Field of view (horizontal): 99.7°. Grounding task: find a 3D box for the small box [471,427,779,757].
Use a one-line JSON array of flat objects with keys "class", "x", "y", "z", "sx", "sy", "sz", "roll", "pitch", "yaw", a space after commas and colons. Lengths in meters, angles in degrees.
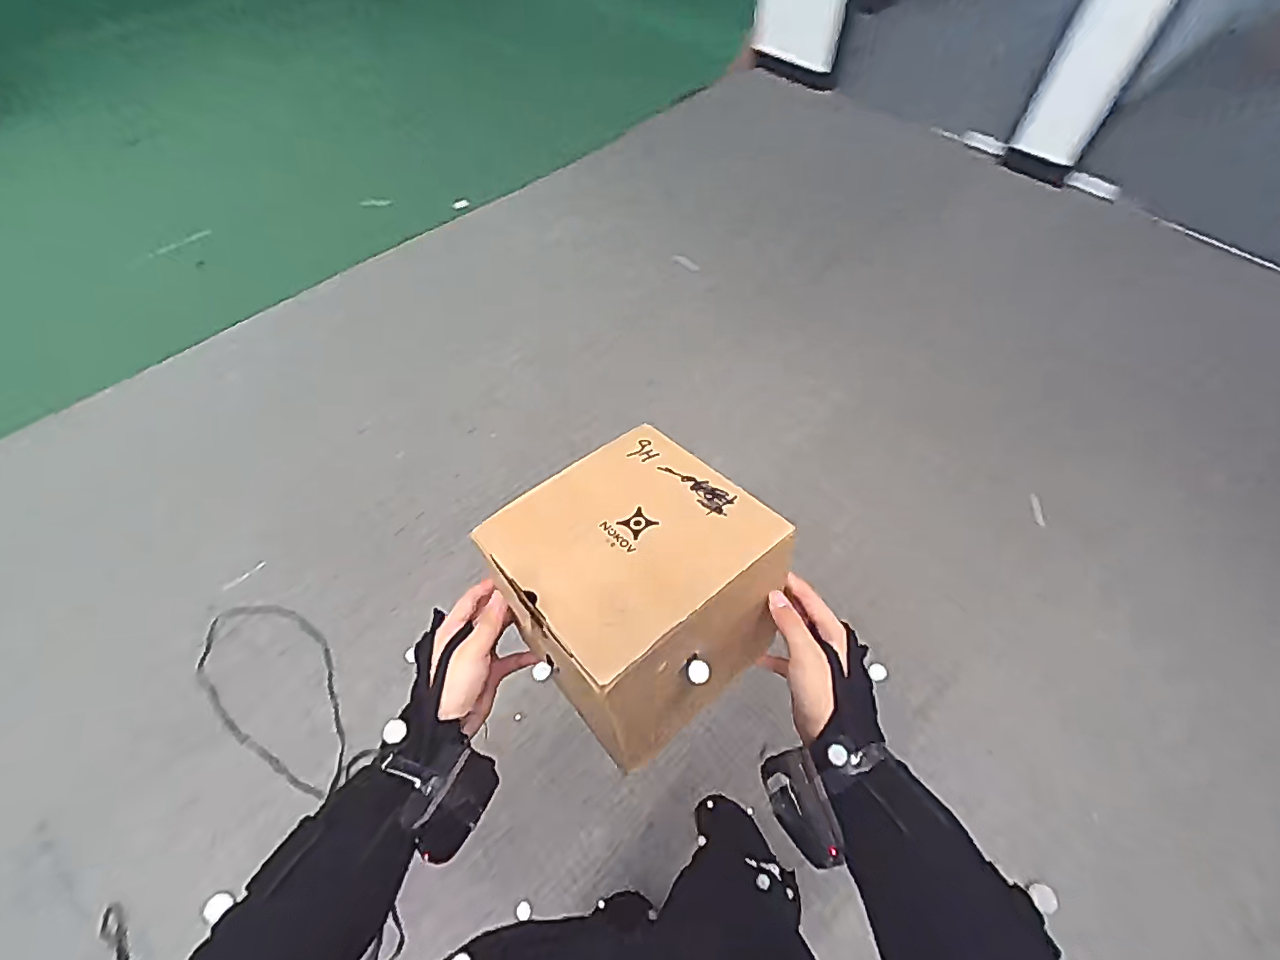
[{"class": "small box", "x": -0.005, "y": 0.093, "z": 0.456, "sx": 0.179, "sy": 0.176, "sz": 0.168, "roll": -35, "pitch": 52, "yaw": -24}]
